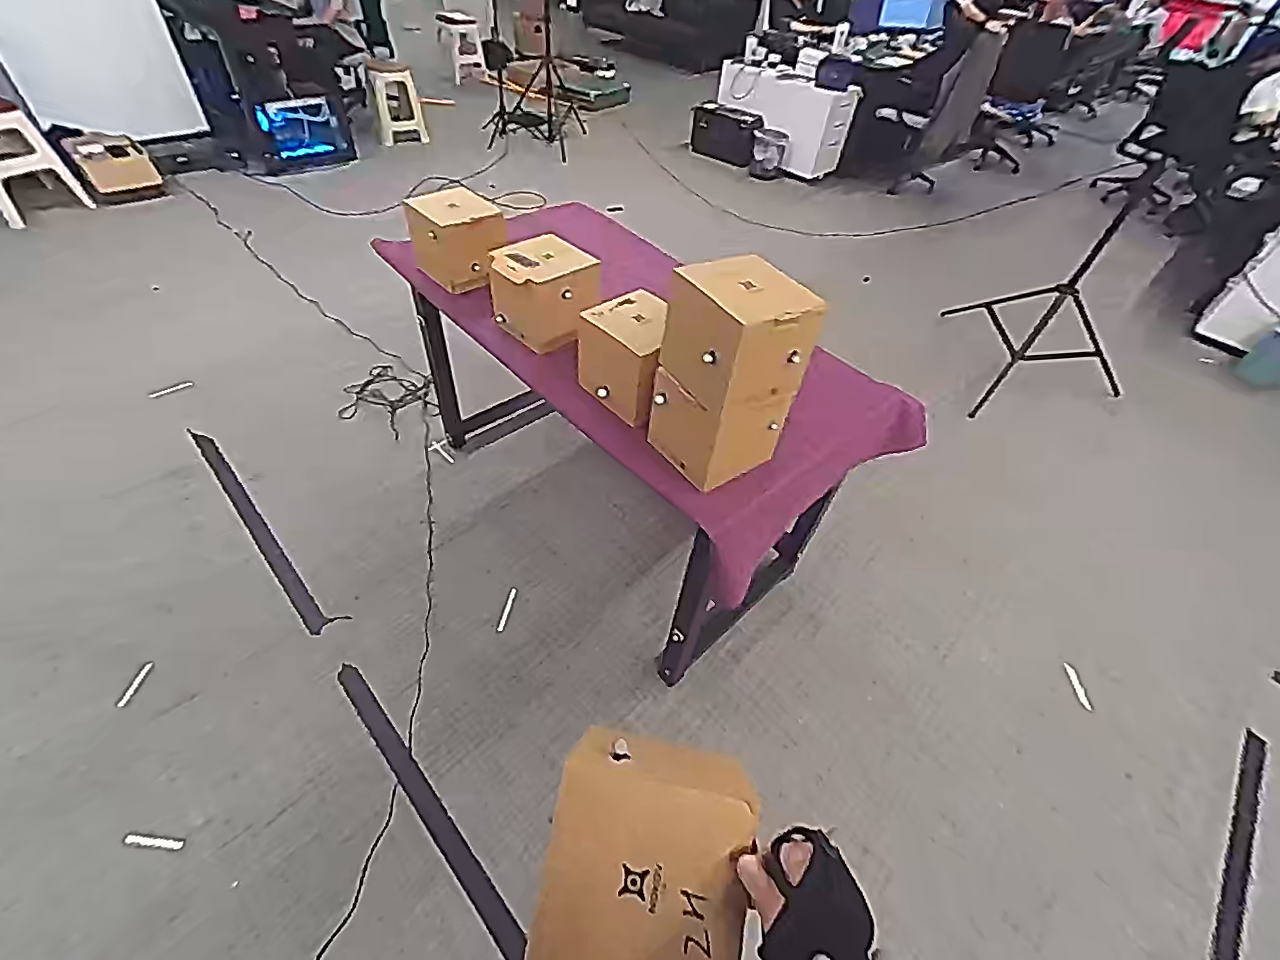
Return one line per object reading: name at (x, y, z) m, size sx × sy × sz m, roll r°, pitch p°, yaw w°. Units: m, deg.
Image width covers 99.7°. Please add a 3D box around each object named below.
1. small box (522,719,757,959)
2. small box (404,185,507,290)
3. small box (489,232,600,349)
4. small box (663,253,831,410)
small box at (0.005, 0.346, 0.532) m, size 0.179 × 0.176 × 0.168 m, roll 9°, pitch 76°, yaw 4°
small box at (-0.444, -0.592, 1.324) m, size 0.179 × 0.176 × 0.168 m, roll 39°, pitch 55°, yaw 24°
small box at (-0.205, -0.415, 1.192) m, size 0.168 × 0.176 × 0.179 m, roll 38°, pitch 54°, yaw 24°
small box at (0.156, -0.227, 0.844) m, size 0.168 × 0.176 × 0.179 m, roll -20°, pitch 52°, yaw -26°
